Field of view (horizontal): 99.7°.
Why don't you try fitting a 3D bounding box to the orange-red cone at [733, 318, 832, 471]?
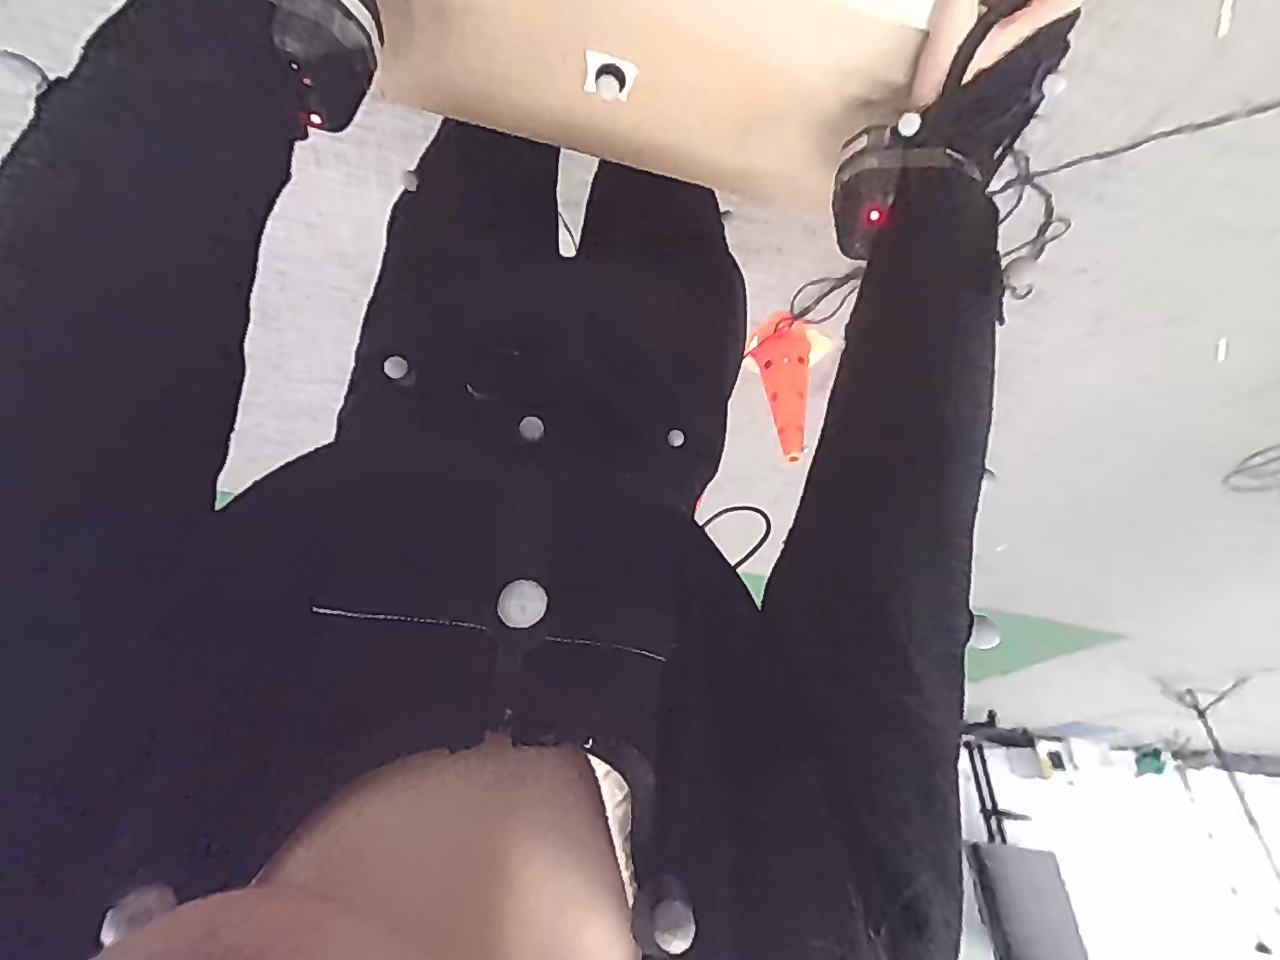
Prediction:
[{"bbox_3d":[0.356,-0.178,1.309,0.199,0.360,0.198,21,144,-25],"label":"orange-red cone"}]
